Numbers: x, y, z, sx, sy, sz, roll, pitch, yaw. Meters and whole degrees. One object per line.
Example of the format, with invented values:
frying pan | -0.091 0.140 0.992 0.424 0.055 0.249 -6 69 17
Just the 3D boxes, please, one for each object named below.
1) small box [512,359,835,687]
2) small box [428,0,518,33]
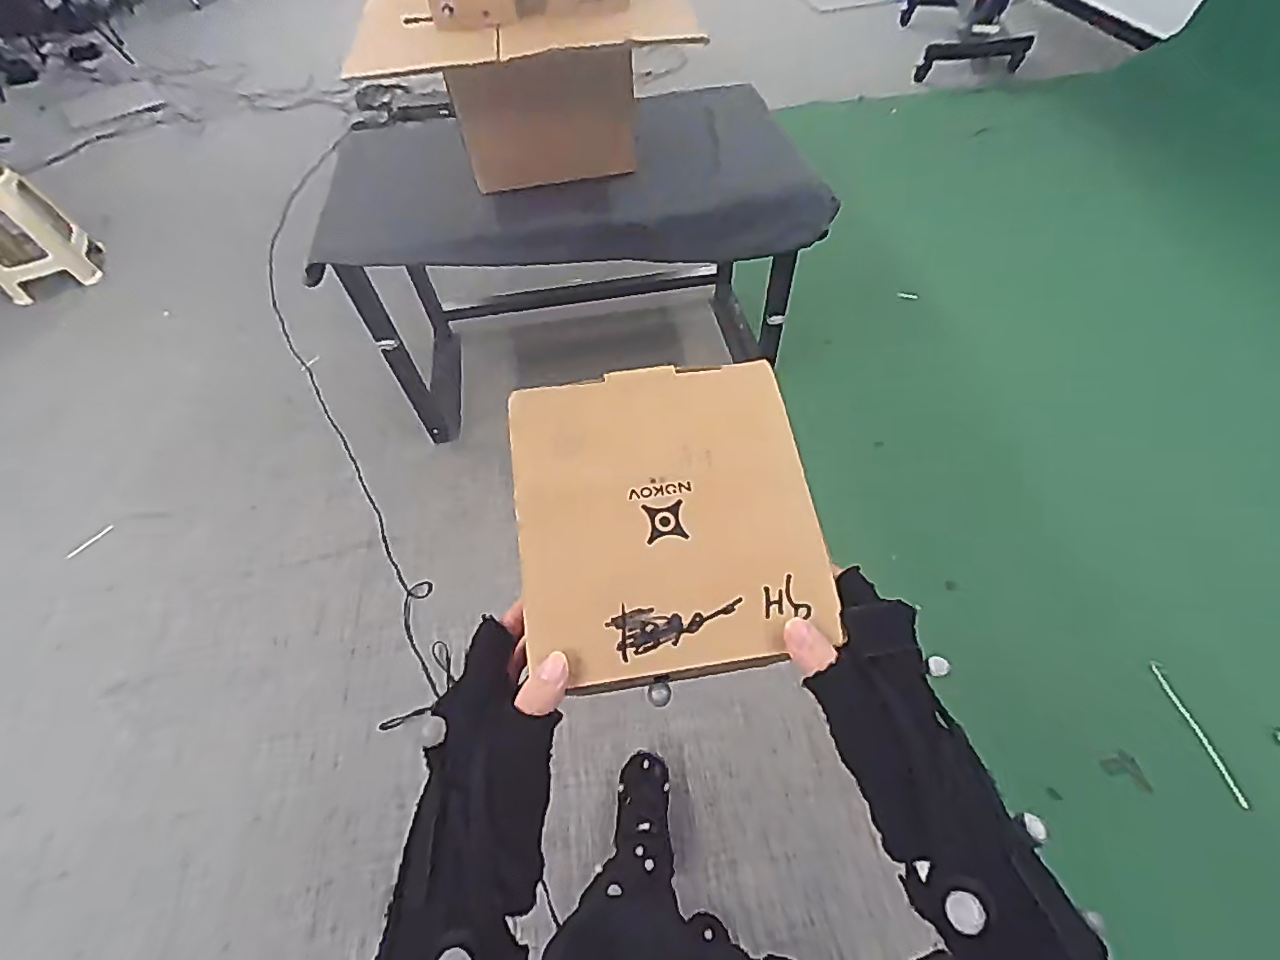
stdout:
small box | 0.010 0.041 0.384 0.168 0.176 0.179 -8 68 -3
small box | -0.343 -1.018 1.075 0.168 0.176 0.179 -8 55 -1
